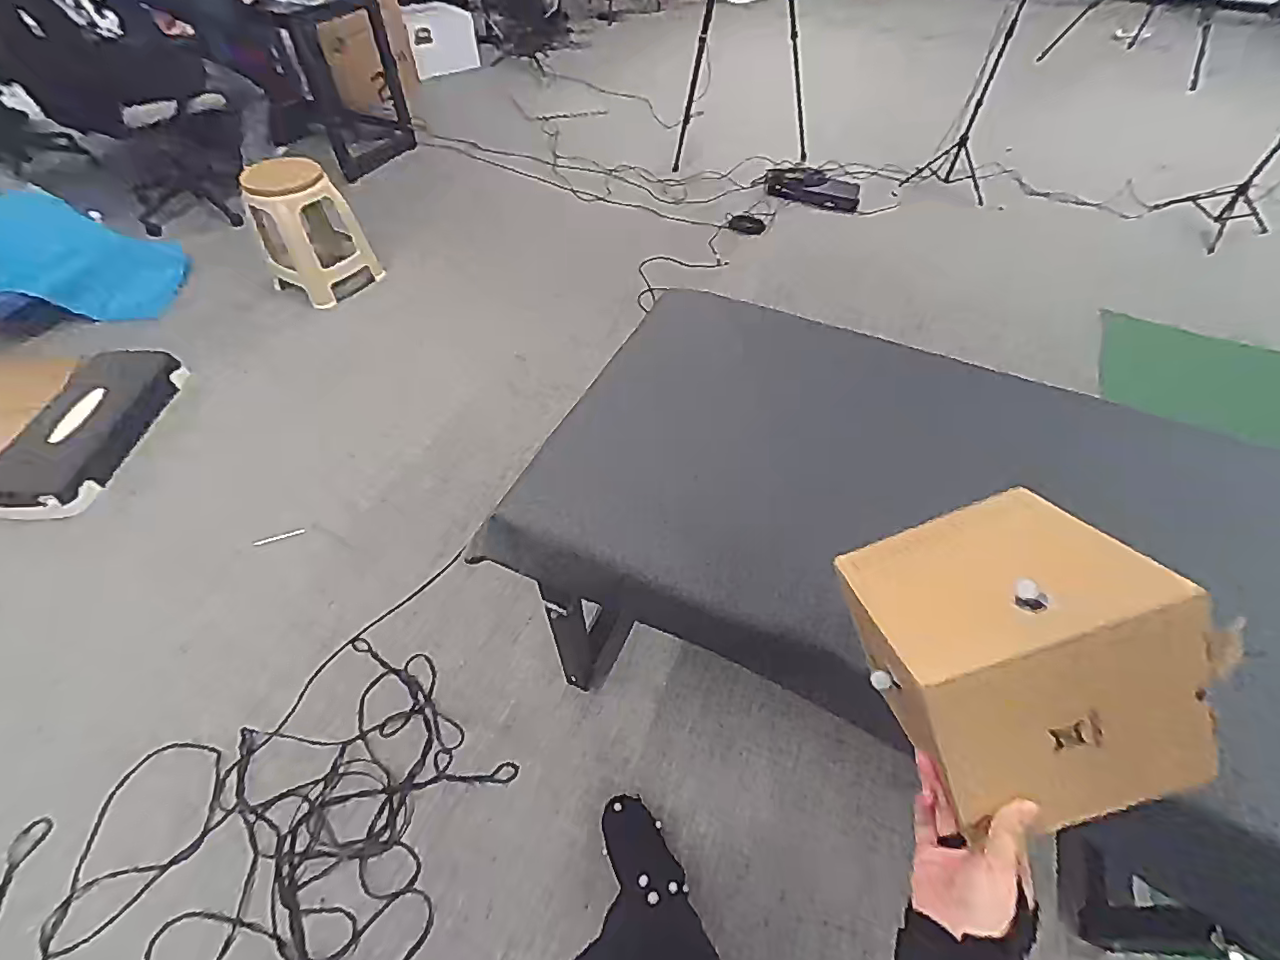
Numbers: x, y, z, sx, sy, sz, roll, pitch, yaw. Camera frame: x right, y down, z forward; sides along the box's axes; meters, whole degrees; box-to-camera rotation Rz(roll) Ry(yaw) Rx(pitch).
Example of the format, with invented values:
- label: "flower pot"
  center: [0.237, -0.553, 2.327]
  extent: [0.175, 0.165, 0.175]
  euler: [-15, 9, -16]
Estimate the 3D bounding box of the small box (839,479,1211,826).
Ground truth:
- label: "small box"
  center: [0.281, 0.123, 0.435]
  extent: [0.179, 0.168, 0.176]
  euler: [-24, 19, 6]
